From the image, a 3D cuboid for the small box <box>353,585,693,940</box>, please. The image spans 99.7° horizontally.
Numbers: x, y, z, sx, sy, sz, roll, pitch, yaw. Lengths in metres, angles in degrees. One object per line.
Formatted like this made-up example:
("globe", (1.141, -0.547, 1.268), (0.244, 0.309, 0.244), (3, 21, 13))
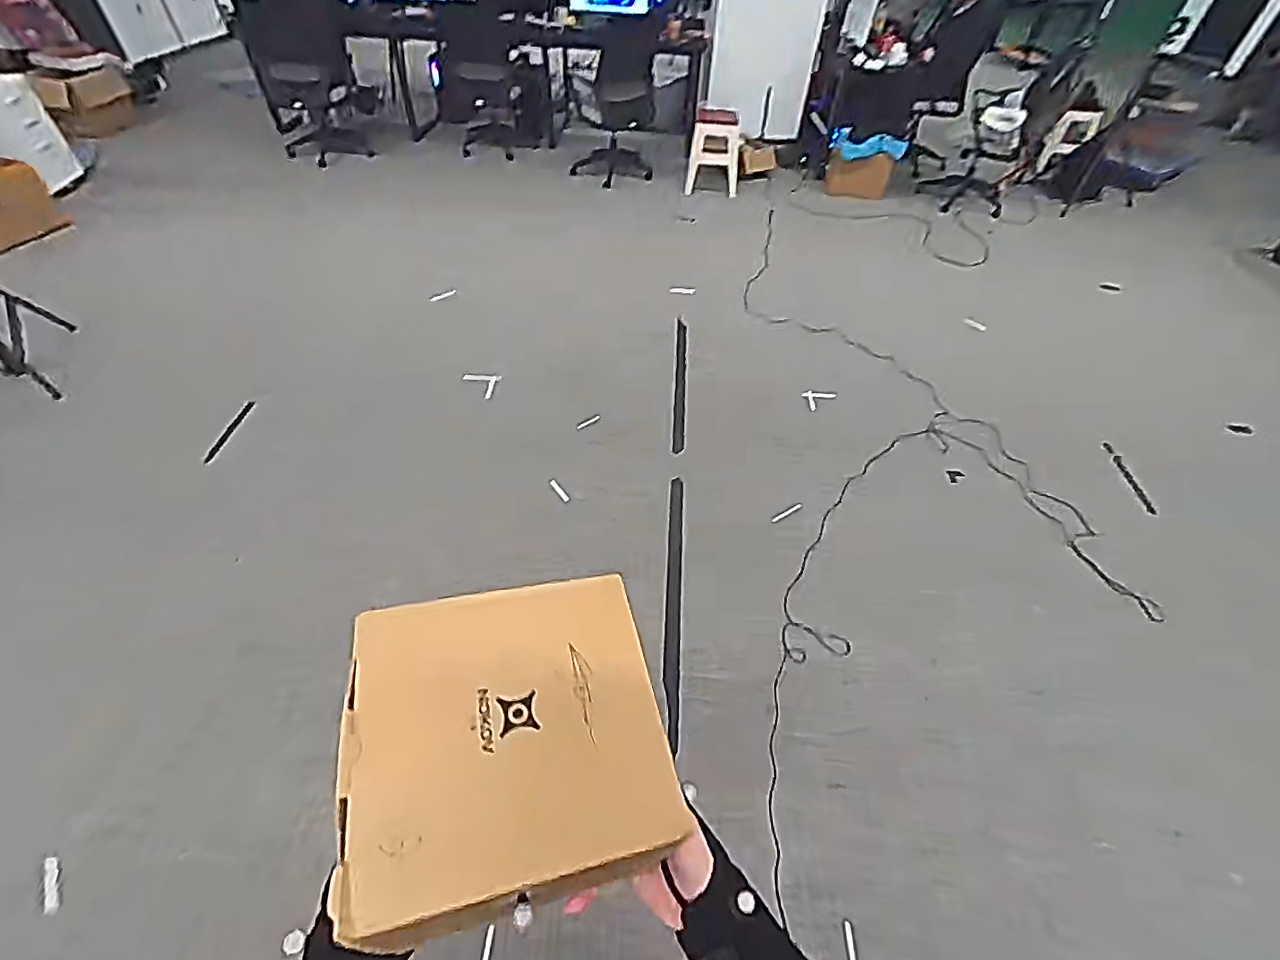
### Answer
("small box", (-0.084, 0.198, 0.383), (0.179, 0.176, 0.168), (-5, 51, -17))
